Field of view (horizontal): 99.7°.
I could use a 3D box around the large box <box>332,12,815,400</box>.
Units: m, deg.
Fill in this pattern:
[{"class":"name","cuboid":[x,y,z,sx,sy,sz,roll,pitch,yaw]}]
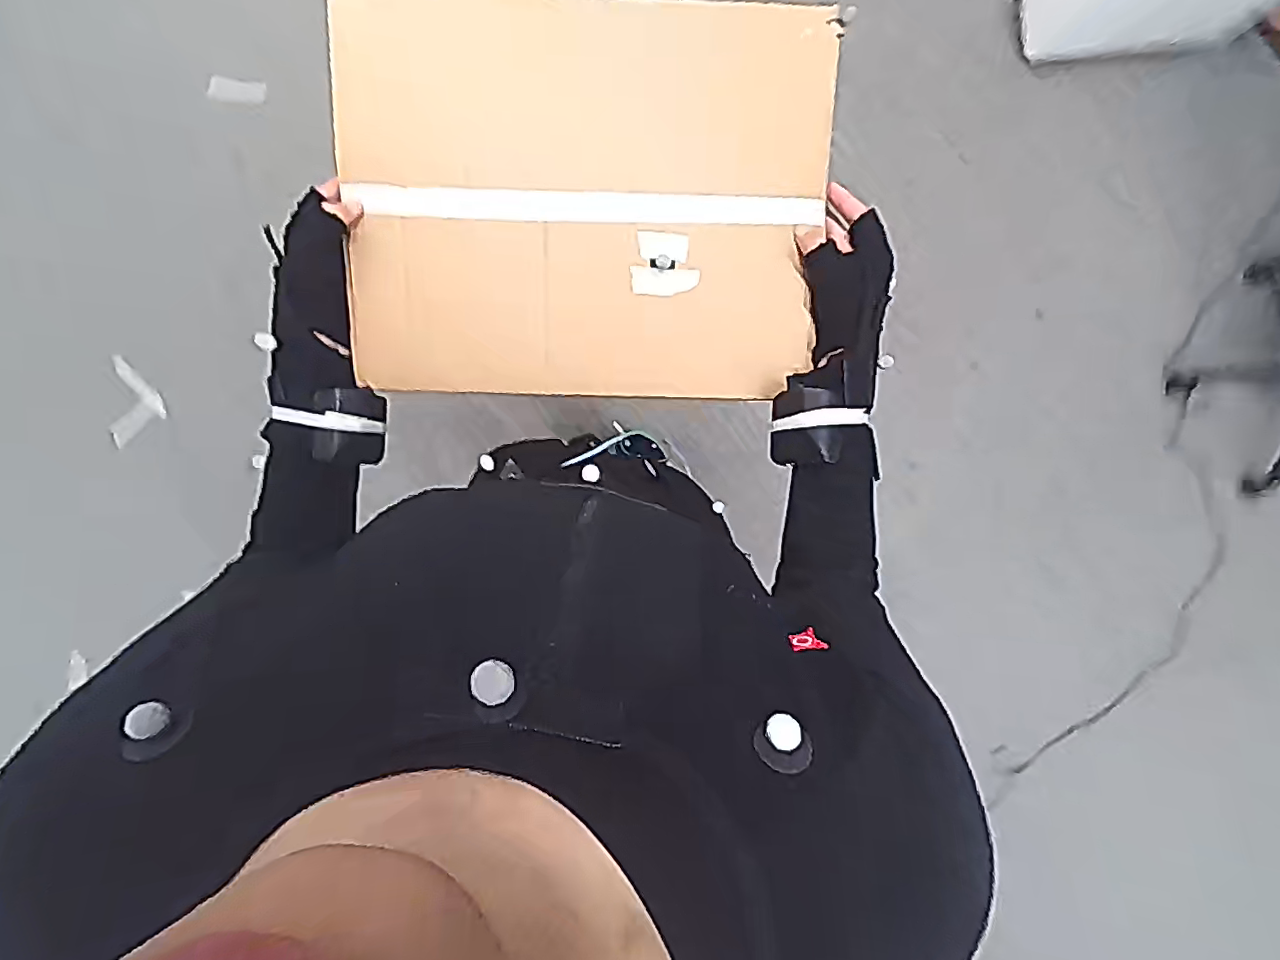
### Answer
[{"class":"large box","cuboid":[-0.057,-0.258,0.616,0.408,0.320,0.320,-1,102,-2]}]
